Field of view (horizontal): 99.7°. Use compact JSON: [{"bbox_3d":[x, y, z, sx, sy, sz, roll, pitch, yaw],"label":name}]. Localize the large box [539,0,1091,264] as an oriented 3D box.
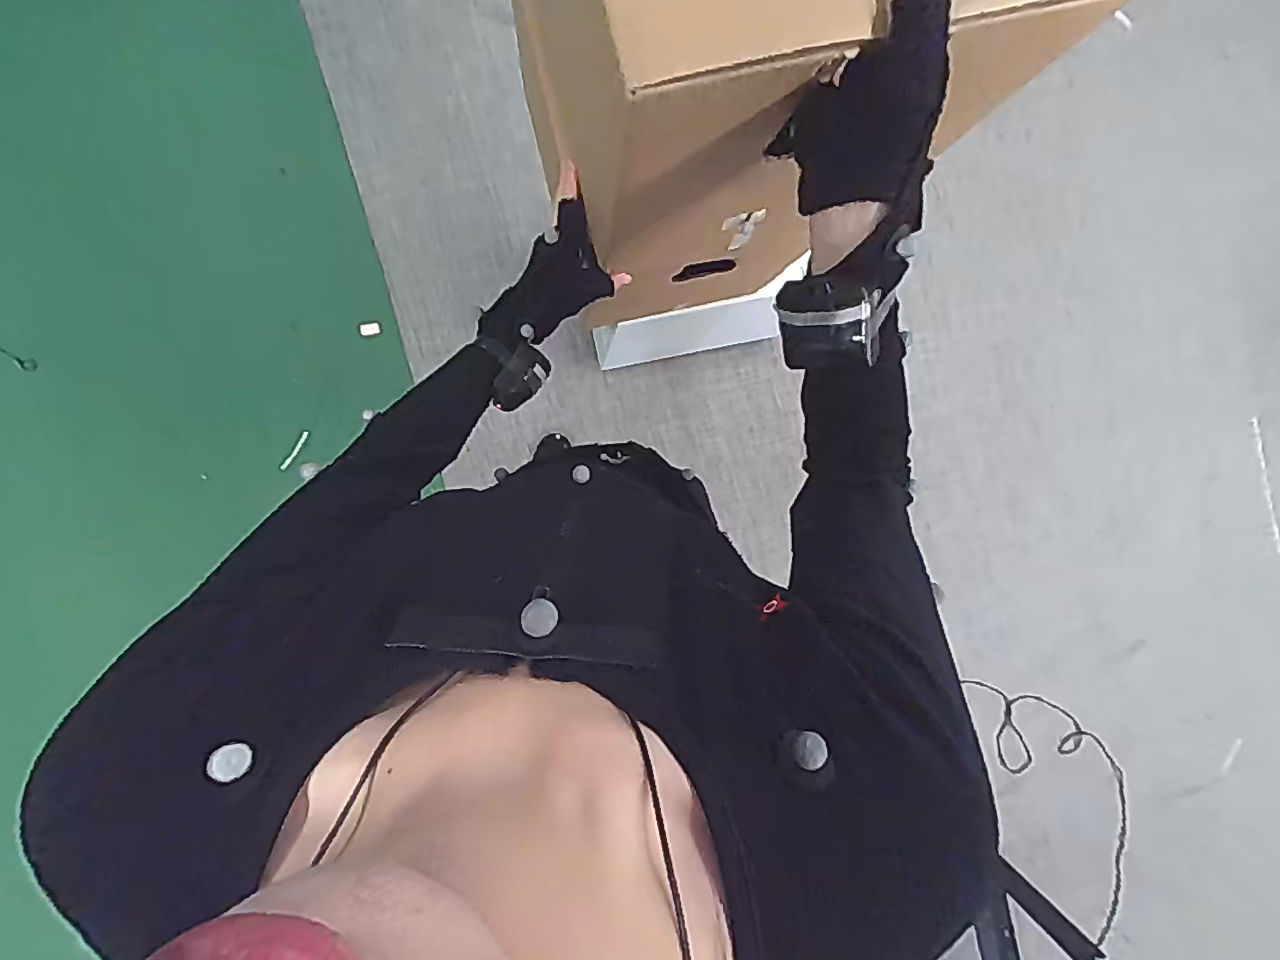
[{"bbox_3d":[0.073,-0.448,0.426,0.320,0.320,0.408,-15,95,-5],"label":"large box"}]
